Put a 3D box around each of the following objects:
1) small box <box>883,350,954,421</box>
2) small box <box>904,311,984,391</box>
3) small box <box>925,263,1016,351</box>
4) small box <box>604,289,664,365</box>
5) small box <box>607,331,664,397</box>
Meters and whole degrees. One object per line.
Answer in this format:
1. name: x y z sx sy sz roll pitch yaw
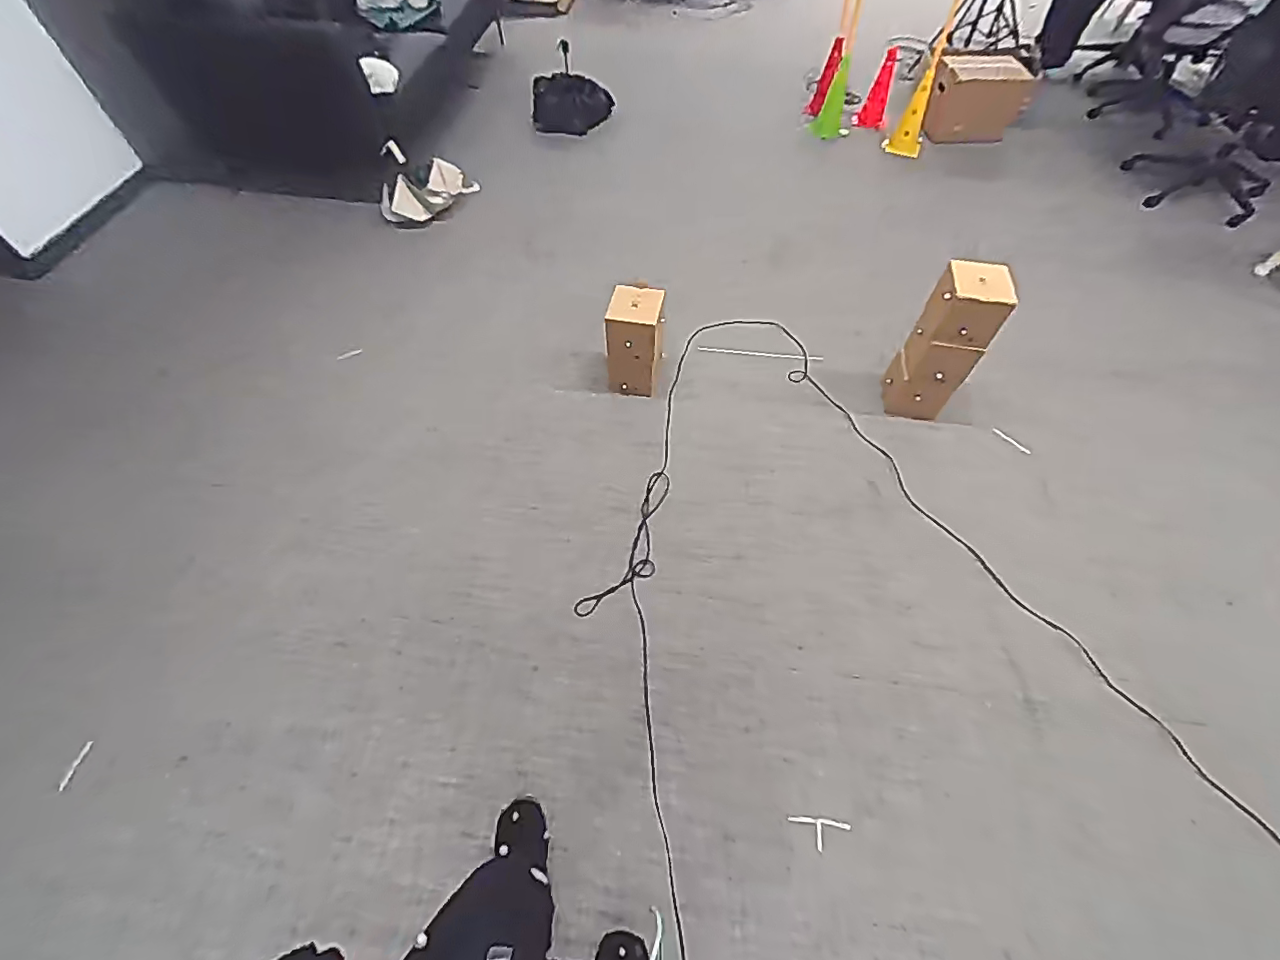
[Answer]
1. small box: 0.963 -0.326 1.883 0.179 0.176 0.168 8 56 5
2. small box: 0.972 -0.417 1.746 0.168 0.176 0.179 9 57 5
3. small box: 0.976 -0.515 1.616 0.168 0.176 0.179 9 57 5
4. small box: -0.015 -0.506 1.804 0.168 0.176 0.179 10 56 7
5. small box: -0.018 -0.427 1.929 0.168 0.176 0.179 12 56 8
